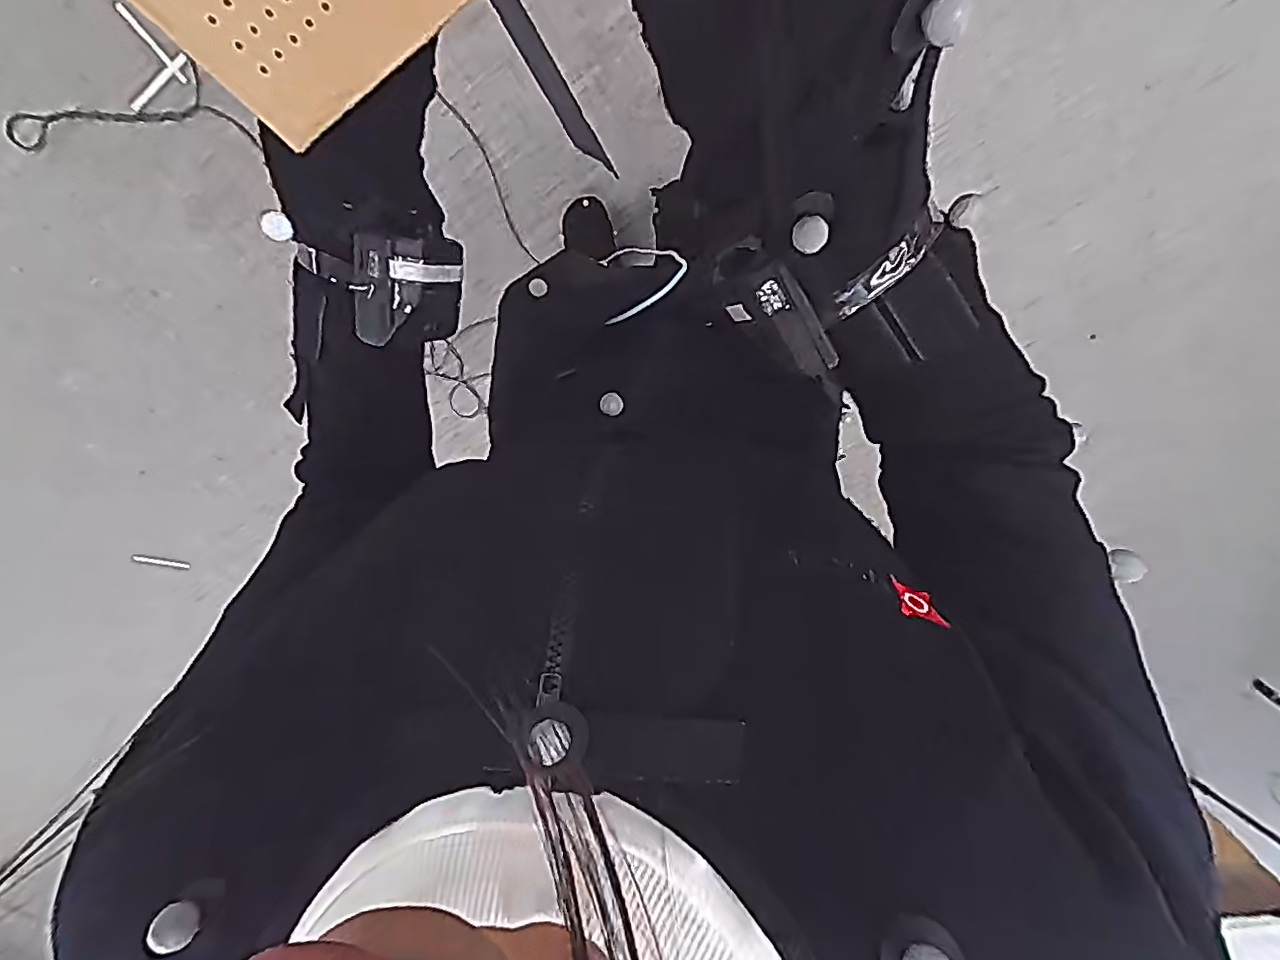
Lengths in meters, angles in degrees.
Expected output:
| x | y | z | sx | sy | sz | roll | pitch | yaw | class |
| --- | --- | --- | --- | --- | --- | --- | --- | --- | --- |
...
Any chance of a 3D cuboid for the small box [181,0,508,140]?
| x | y | z | sx | sy | sz | roll | pitch | yaw | class |
| --- | --- | --- | --- | --- | --- | --- | --- | --- | --- |
| -0.080 | -0.236 | 0.132 | 0.179 | 0.168 | 0.176 | -23 | 147 | 21 | small box |
